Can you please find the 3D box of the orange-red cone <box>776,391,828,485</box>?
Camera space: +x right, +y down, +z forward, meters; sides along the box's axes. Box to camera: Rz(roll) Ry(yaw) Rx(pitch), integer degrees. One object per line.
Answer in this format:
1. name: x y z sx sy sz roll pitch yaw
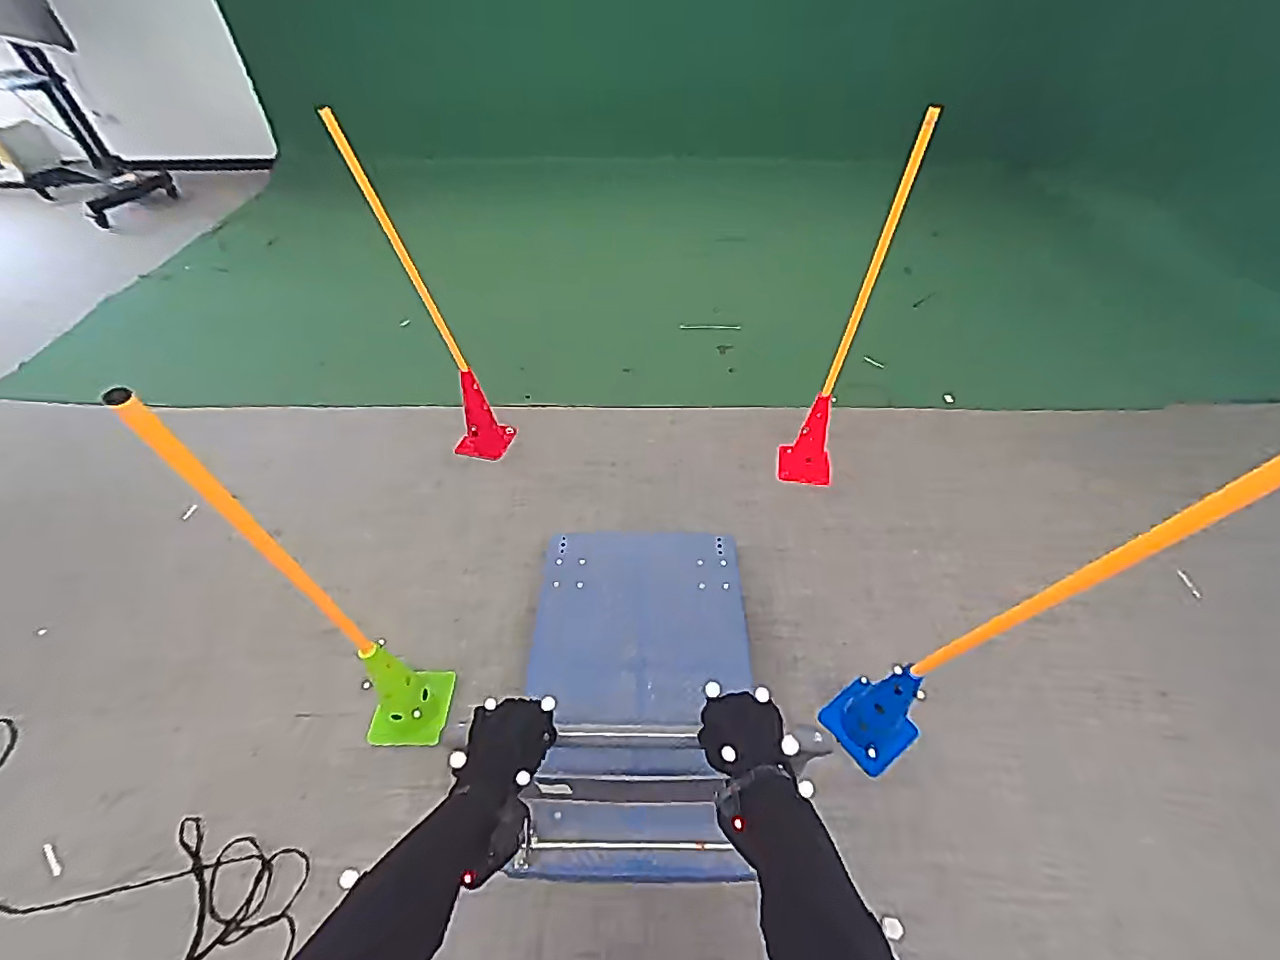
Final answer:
1. orange-red cone: 0.637 -0.176 2.006 0.198 0.360 0.199 8 48 9
